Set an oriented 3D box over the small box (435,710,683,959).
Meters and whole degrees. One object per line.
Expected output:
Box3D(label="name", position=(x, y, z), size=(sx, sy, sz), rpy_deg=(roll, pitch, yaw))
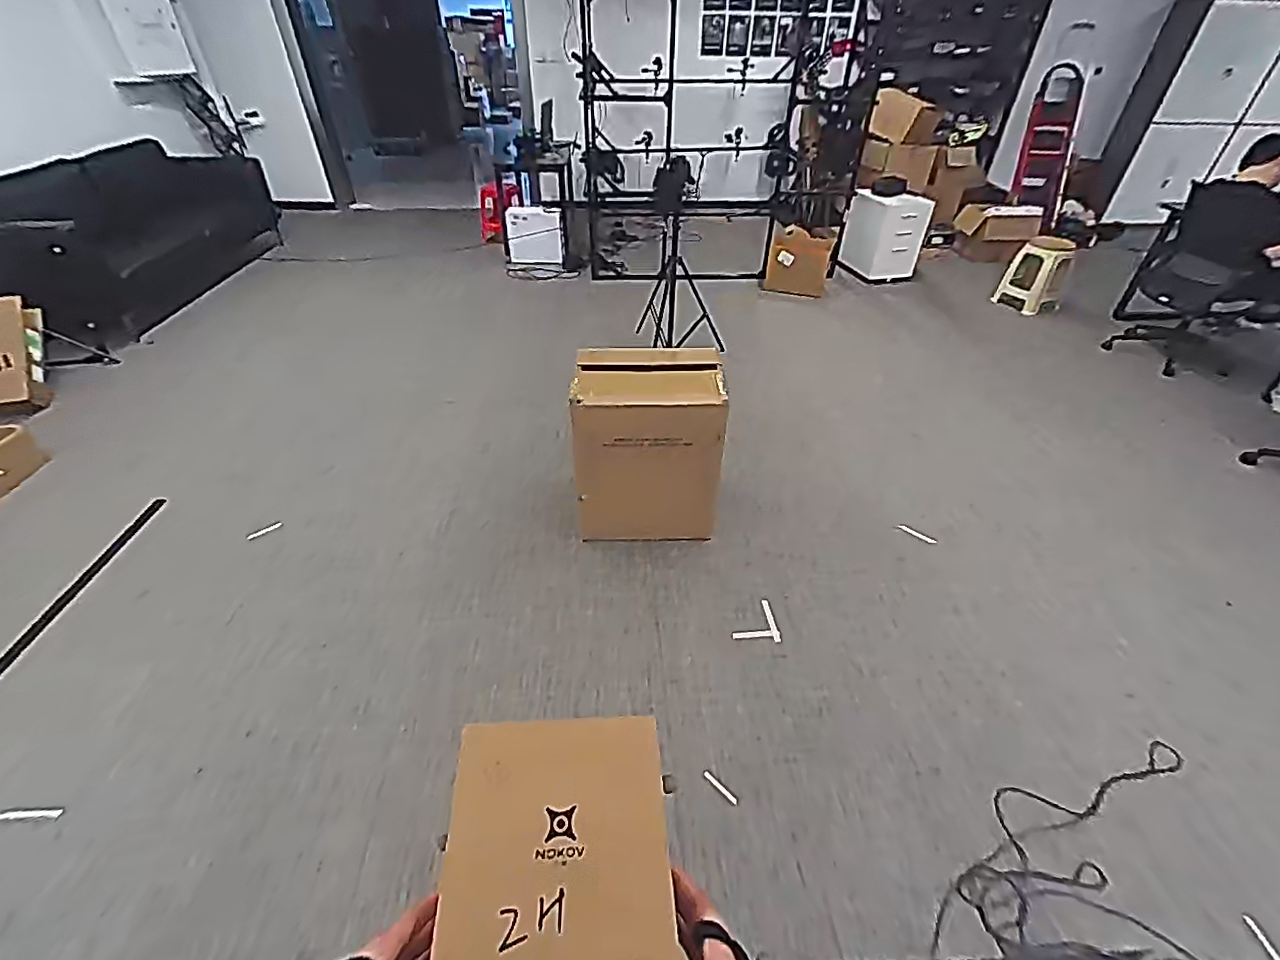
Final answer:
Box3D(label="small box", position=(-0.064, 0.322, 0.465), size=(0.168, 0.176, 0.179), rpy_deg=(-1, 45, -6))
